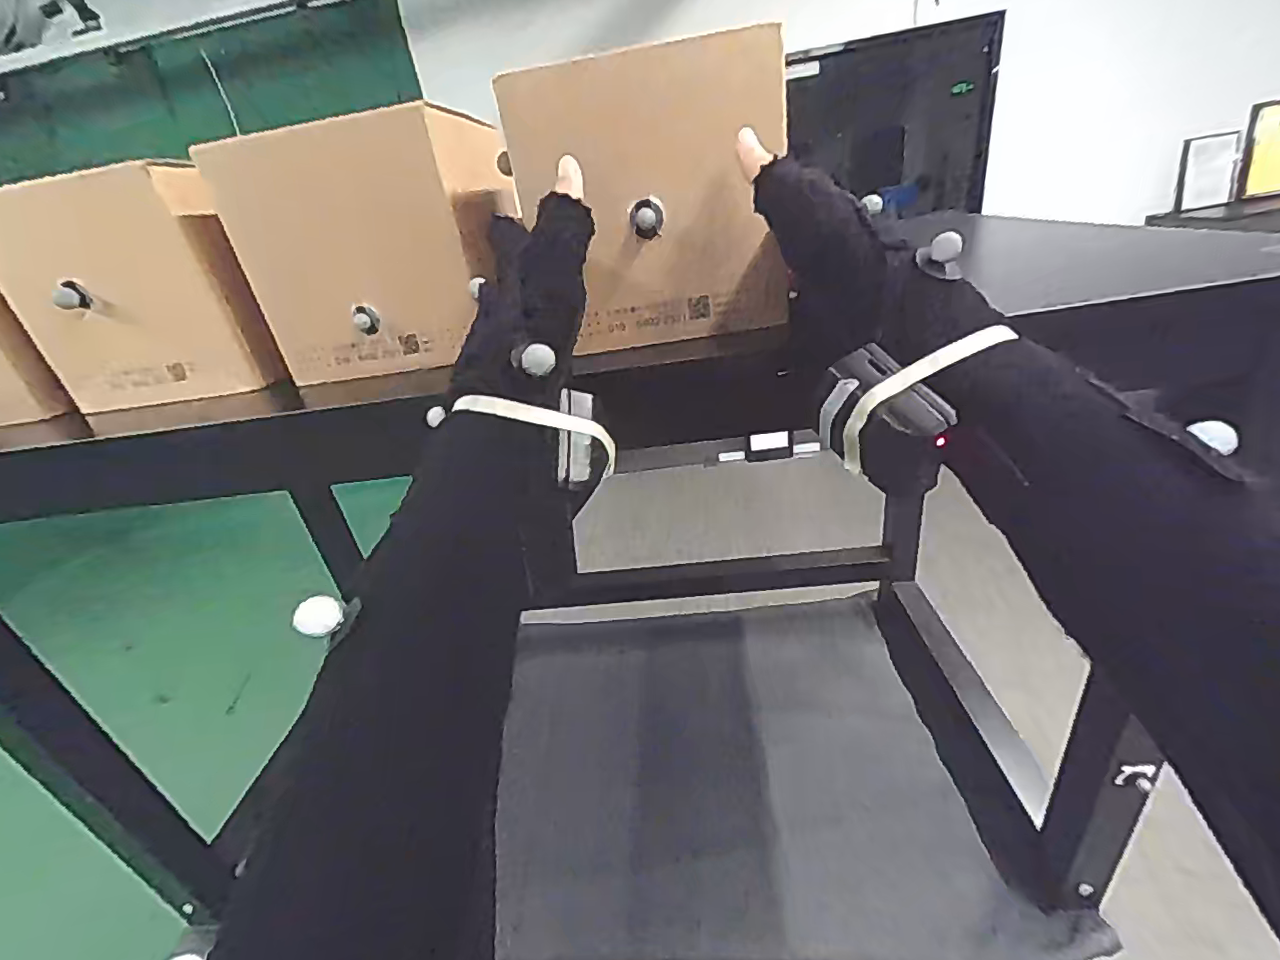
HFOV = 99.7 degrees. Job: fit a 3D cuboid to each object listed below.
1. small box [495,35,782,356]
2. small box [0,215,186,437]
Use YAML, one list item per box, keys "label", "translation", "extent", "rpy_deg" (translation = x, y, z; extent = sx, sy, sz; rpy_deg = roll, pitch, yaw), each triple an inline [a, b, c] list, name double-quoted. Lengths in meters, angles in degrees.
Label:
- label: "small box"
  translation: [0.009, -0.199, 0.414]
  extent: [0.168, 0.176, 0.179]
  rpy_deg: [-7, 27, 4]
- label: "small box"
  translation: [-0.591, -0.145, 0.513]
  extent: [0.168, 0.176, 0.179]
  rpy_deg: [-7, 28, 6]
